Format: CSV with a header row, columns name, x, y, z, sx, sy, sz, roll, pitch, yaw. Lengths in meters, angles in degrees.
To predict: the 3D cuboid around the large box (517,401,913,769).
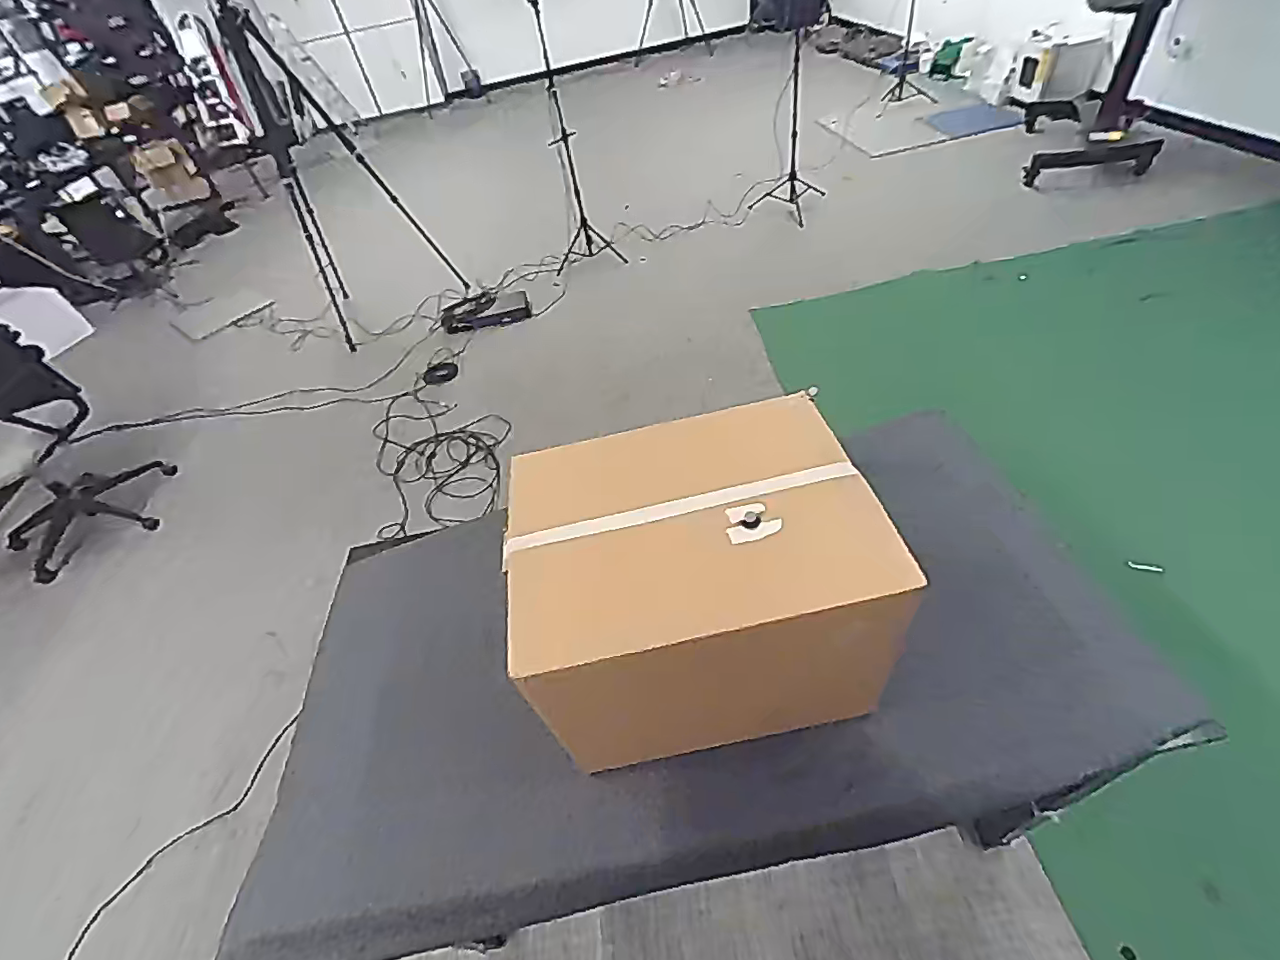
name,x,y,z,sx,sy,sz,roll,pitch,yaw
large box,0.073,0.144,0.733,0.408,0.320,0.320,-13,46,0
